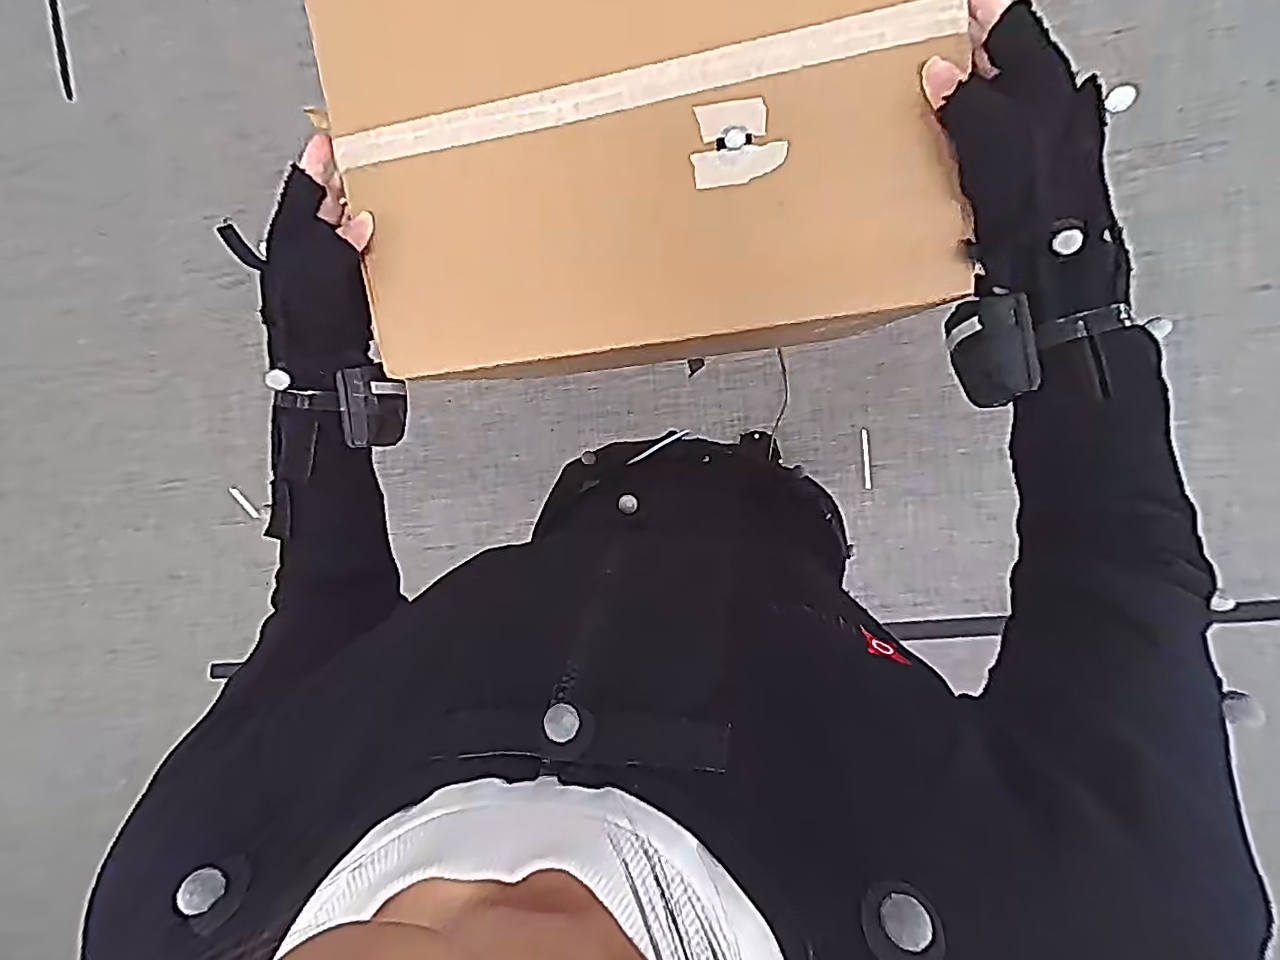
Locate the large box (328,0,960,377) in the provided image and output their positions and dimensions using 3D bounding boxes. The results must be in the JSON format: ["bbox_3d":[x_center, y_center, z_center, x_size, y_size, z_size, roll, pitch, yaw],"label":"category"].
[{"bbox_3d":[0.011,-0.280,0.503,0.408,0.320,0.320,-6,101,8],"label":"large box"}]
